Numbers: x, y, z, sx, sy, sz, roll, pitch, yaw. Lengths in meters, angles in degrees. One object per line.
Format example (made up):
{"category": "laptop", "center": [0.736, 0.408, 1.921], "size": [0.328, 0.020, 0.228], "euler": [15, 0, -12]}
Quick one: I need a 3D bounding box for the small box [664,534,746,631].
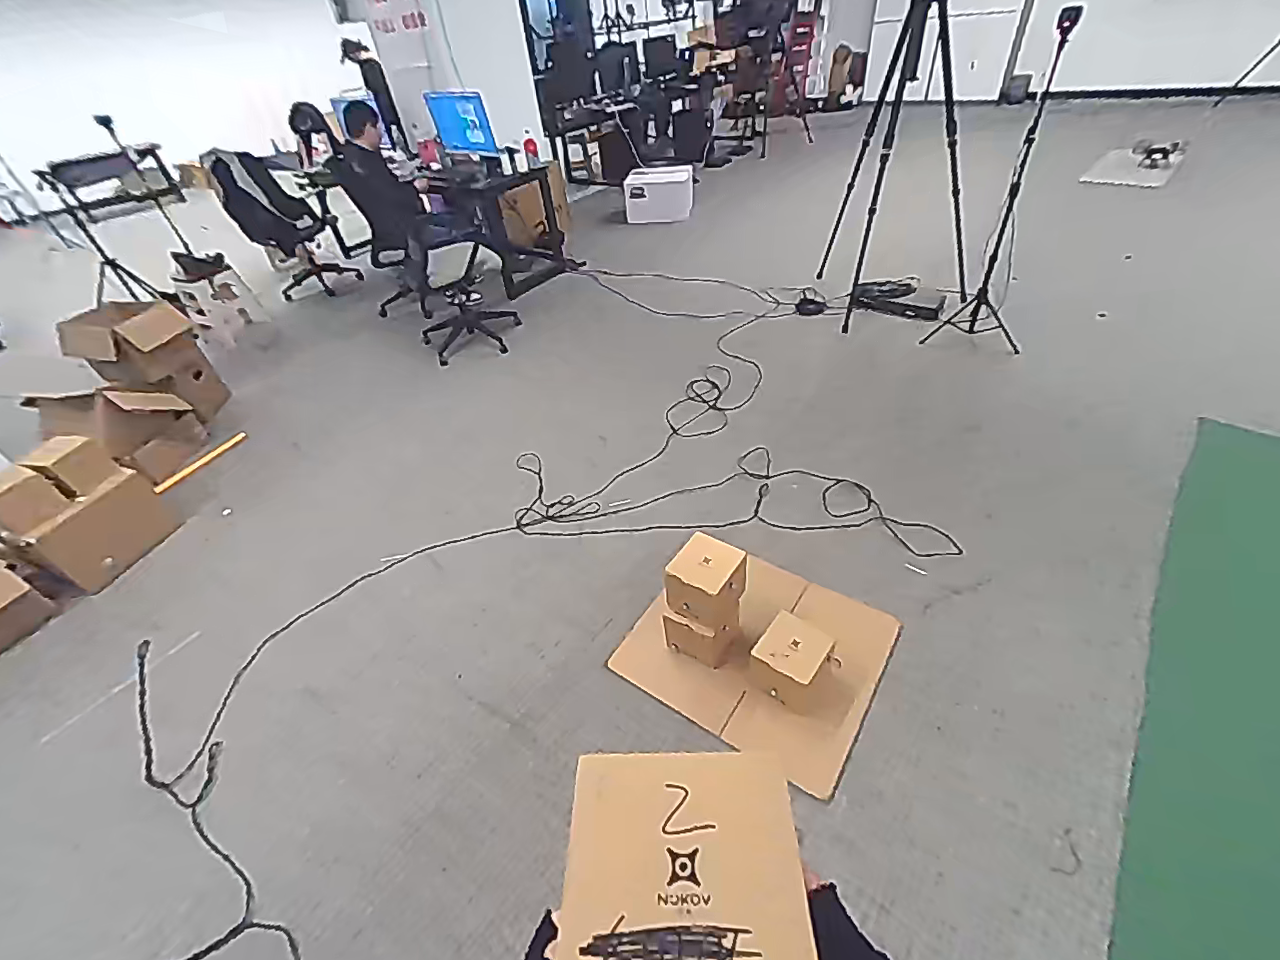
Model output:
{"category": "small box", "center": [0.185, 0.291, 1.537], "size": [0.168, 0.176, 0.179], "euler": [22, 49, 30]}

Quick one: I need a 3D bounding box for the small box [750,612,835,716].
{"category": "small box", "center": [0.417, 0.509, 1.501], "size": [0.168, 0.176, 0.179], "euler": [25, 51, 33]}

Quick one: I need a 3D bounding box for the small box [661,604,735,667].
{"category": "small box", "center": [0.183, 0.428, 1.629], "size": [0.168, 0.176, 0.179], "euler": [20, 48, 28]}
